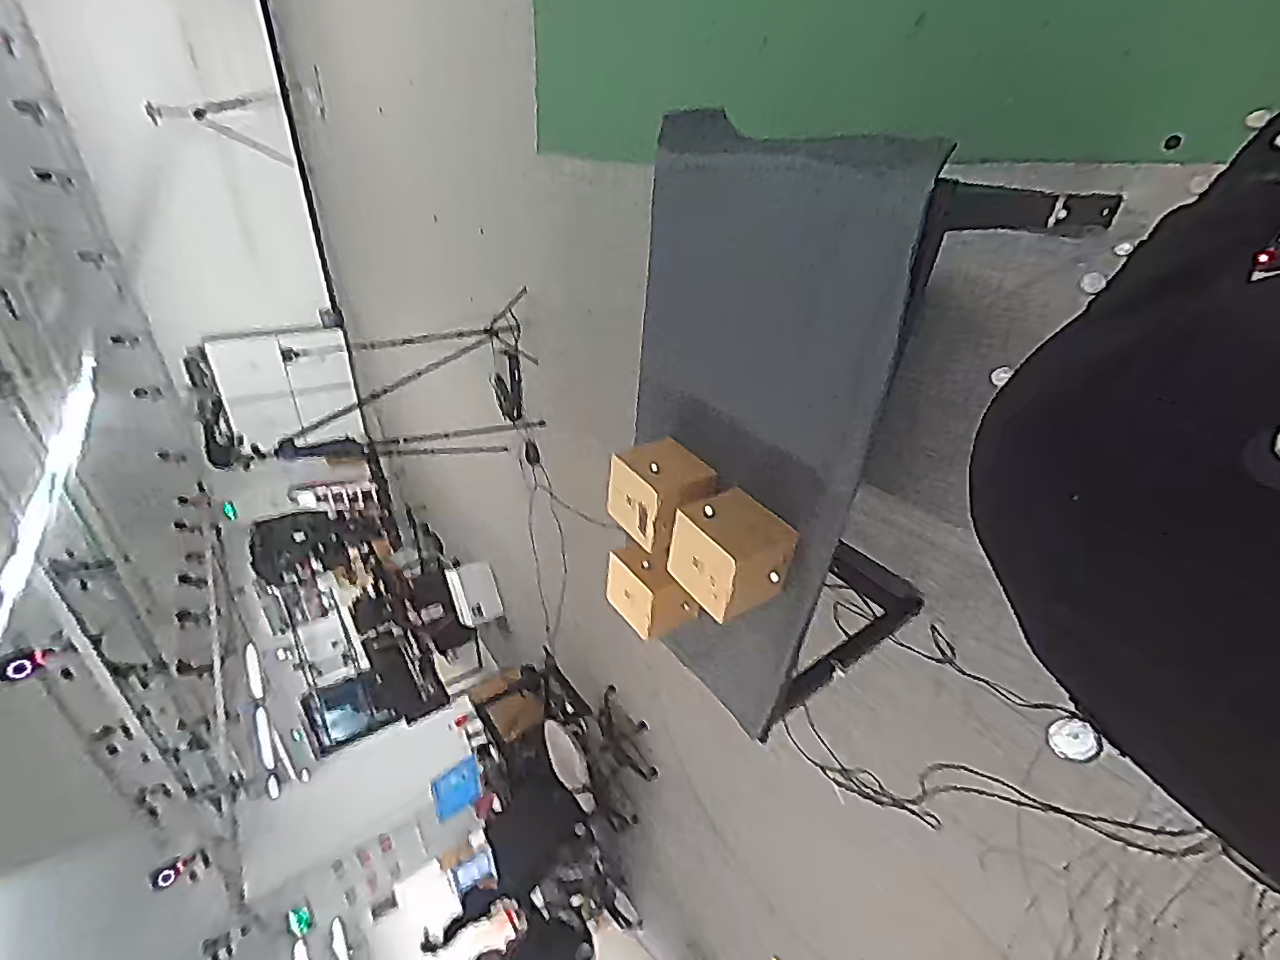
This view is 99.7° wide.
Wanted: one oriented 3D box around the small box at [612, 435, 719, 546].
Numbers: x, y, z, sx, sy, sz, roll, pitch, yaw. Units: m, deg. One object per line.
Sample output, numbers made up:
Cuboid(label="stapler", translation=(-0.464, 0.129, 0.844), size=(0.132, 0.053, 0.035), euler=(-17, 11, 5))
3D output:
Cuboid(label="small box", translation=(0.057, 0.015, 1.236), size=(0.179, 0.176, 0.168), euler=(40, 137, 39))

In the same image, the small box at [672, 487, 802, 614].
Cuboid(label="small box", translation=(0.192, 0.130, 1.090), size=(0.179, 0.176, 0.168), euler=(40, 137, 40))

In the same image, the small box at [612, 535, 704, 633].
Cuboid(label="small box", translation=(0.050, 0.247, 1.368), size=(0.179, 0.176, 0.168), euler=(38, 135, 40))
